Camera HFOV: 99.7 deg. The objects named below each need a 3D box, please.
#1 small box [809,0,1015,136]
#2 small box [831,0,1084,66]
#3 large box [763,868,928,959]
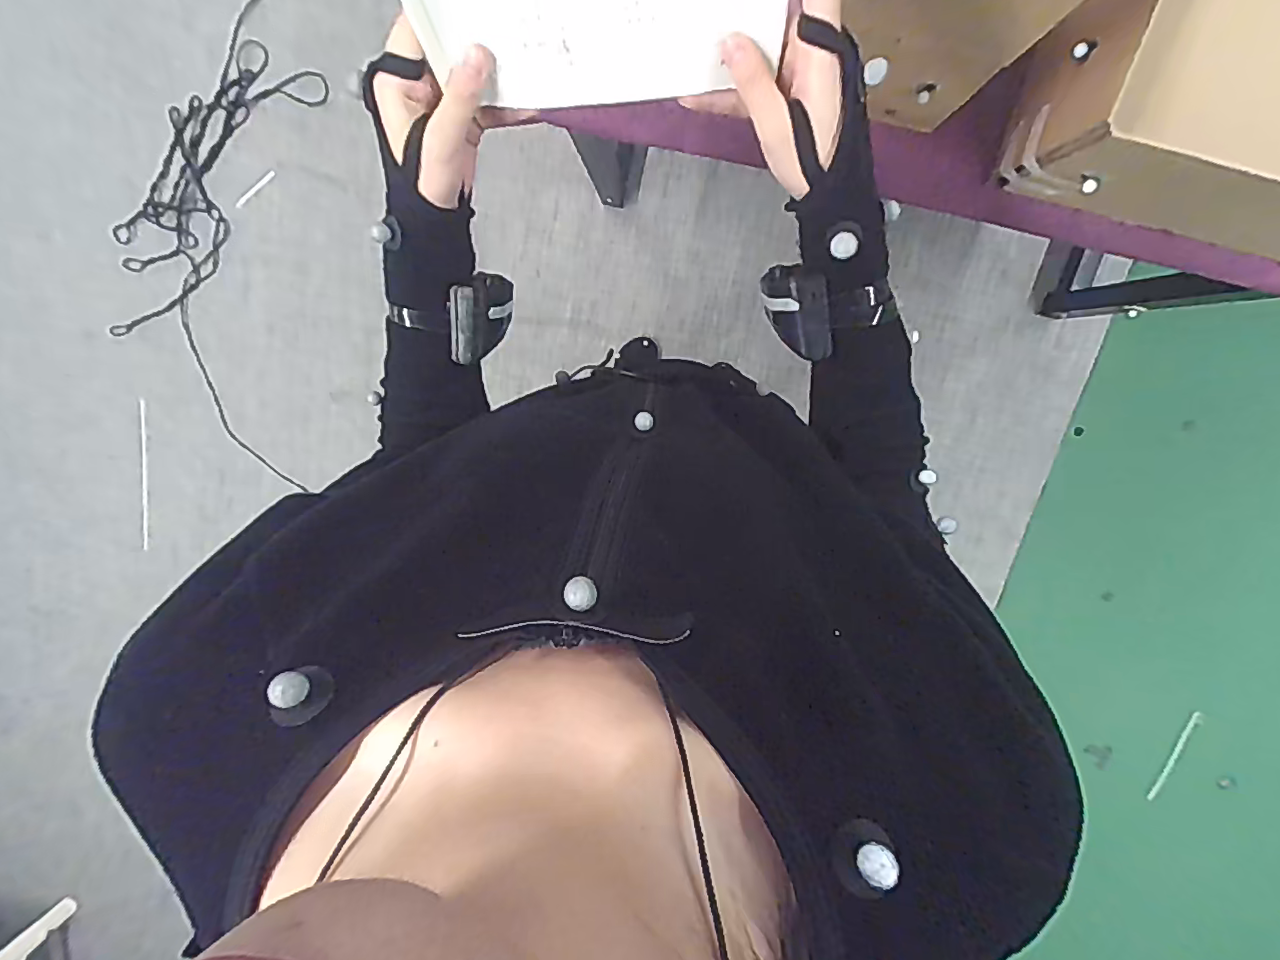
[{"bbox_3d":[0.290,-0.495,0.560,0.168,0.176,0.179,15,101,0],"label":"small box"},{"bbox_3d":[0.271,-0.454,0.402,0.179,0.176,0.168,15,101,0],"label":"small box"},{"bbox_3d":[0.598,1.431,1.628,0.408,0.320,0.320,-1,103,3],"label":"large box"}]
